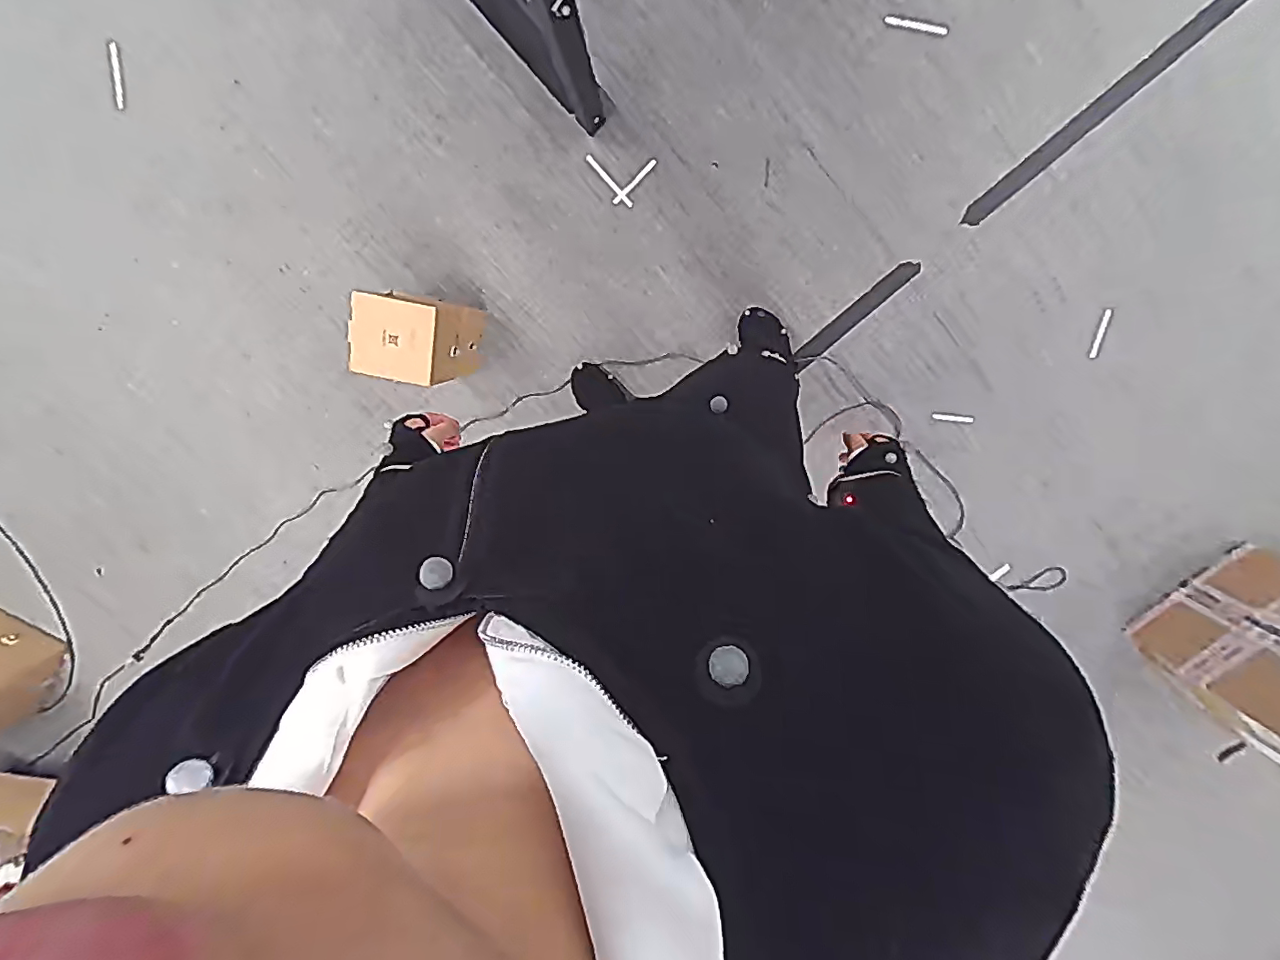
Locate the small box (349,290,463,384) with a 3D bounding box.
[{"bbox_3d":[-0.512,-0.316,1.195,0.179,0.176,0.168,10,107,-2],"label":"small box"}]

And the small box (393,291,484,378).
[{"bbox_3d":[-0.507,-0.365,1.351,0.179,0.176,0.168,16,105,-2],"label":"small box"}]
